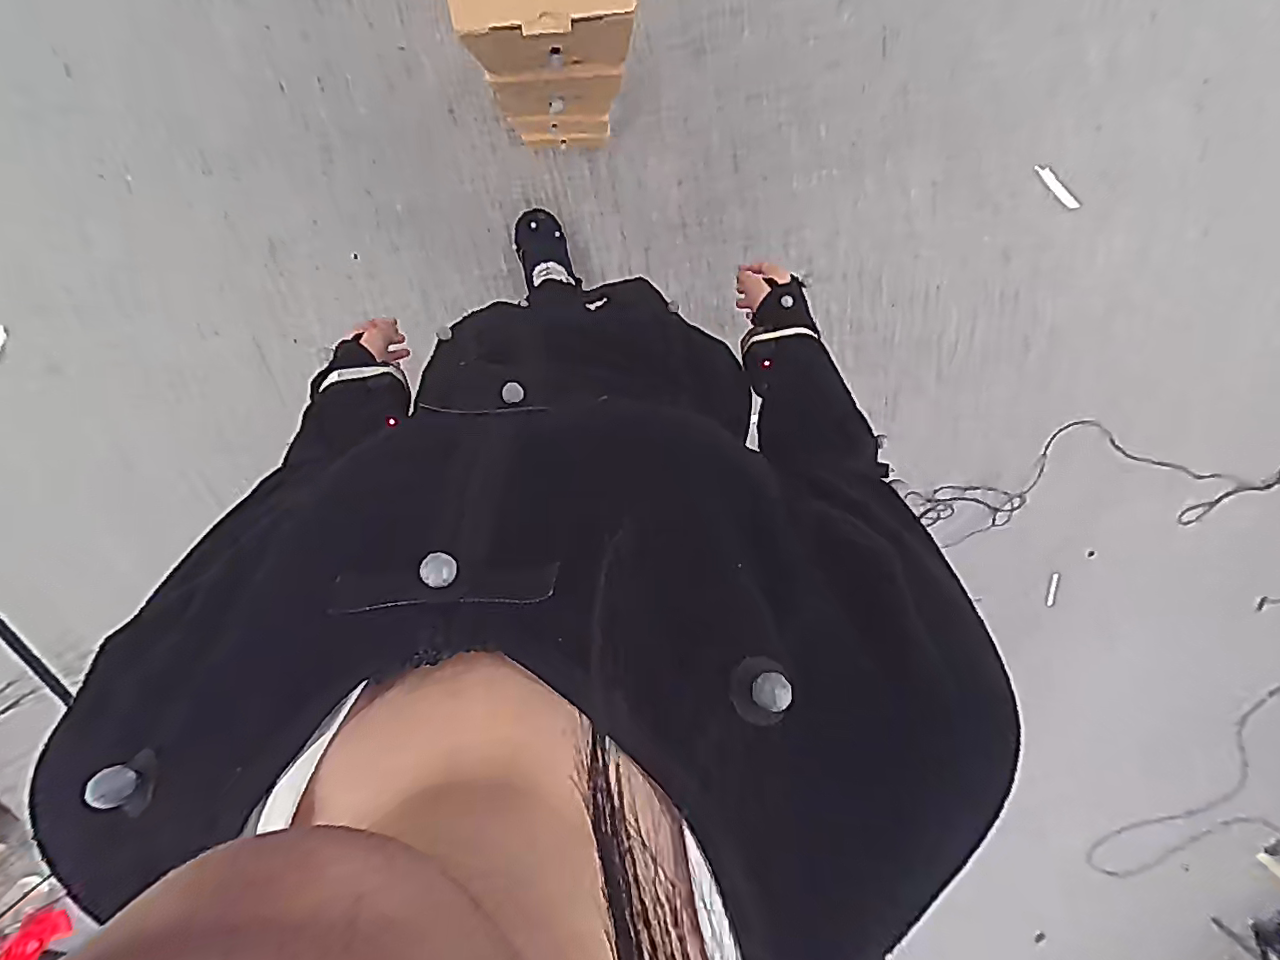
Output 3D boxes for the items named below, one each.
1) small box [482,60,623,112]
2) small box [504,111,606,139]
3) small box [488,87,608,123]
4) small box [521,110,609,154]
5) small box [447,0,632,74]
[{"bbox_3d":[-0.111,-0.577,0.671,0.168,0.176,0.179,-5,118,-2],"label":"small box"},{"bbox_3d":[-0.149,-0.714,0.965,0.179,0.176,0.168,-2,117,-4],"label":"small box"},{"bbox_3d":[-0.138,-0.650,0.816,0.179,0.176,0.168,-5,117,-3],"label":"small box"},{"bbox_3d":[-0.161,-0.778,1.116,0.179,0.176,0.168,-5,116,-3],"label":"small box"},{"bbox_3d":[-0.099,-0.512,0.520,0.168,0.176,0.179,-7,118,-2],"label":"small box"}]
